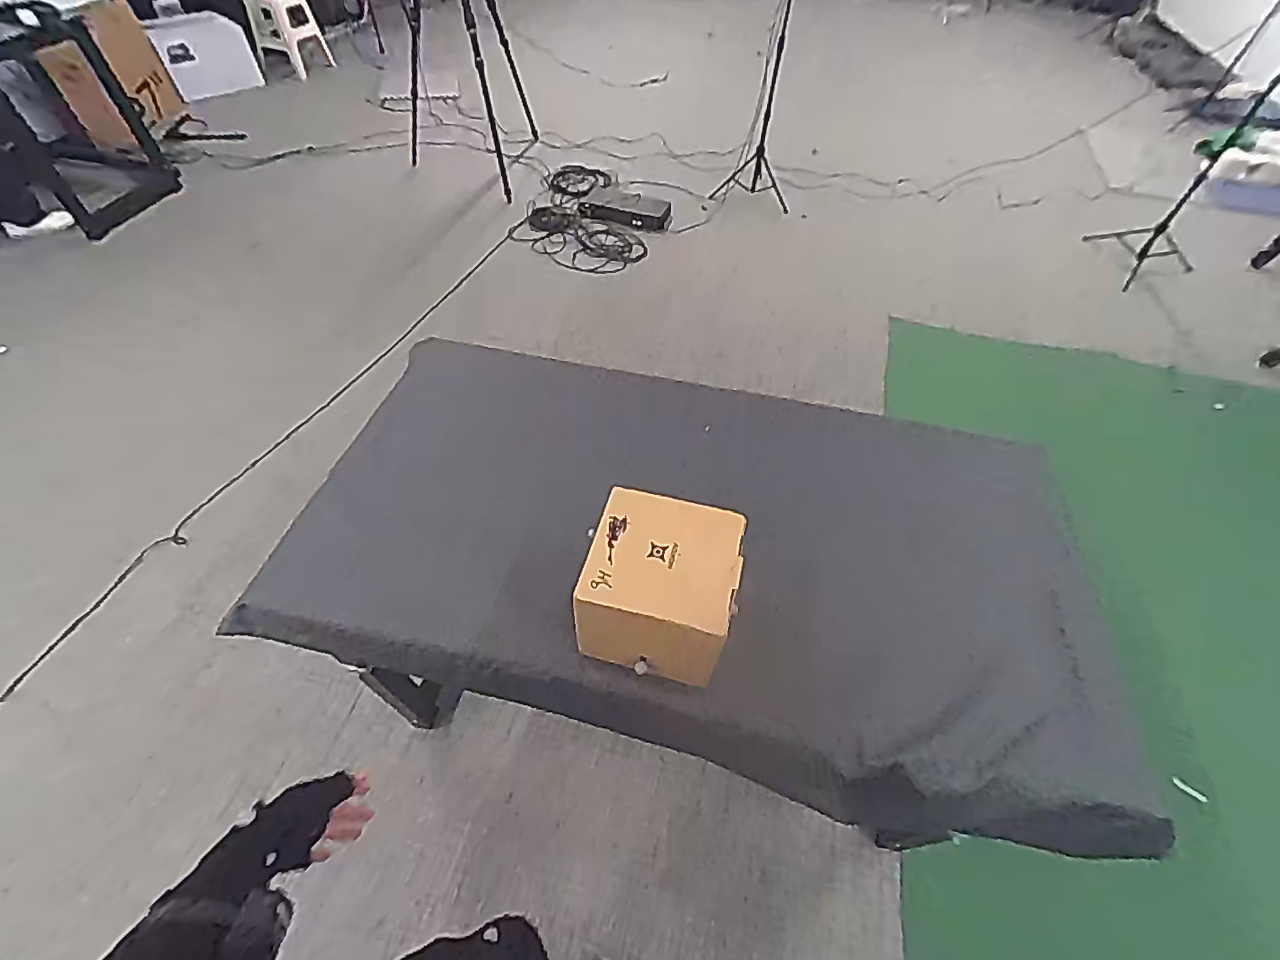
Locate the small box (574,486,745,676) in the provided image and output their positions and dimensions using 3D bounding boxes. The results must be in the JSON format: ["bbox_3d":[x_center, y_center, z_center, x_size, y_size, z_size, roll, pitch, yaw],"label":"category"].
[{"bbox_3d":[0.025,0.138,0.706,0.179,0.176,0.168,13,52,7],"label":"small box"}]
